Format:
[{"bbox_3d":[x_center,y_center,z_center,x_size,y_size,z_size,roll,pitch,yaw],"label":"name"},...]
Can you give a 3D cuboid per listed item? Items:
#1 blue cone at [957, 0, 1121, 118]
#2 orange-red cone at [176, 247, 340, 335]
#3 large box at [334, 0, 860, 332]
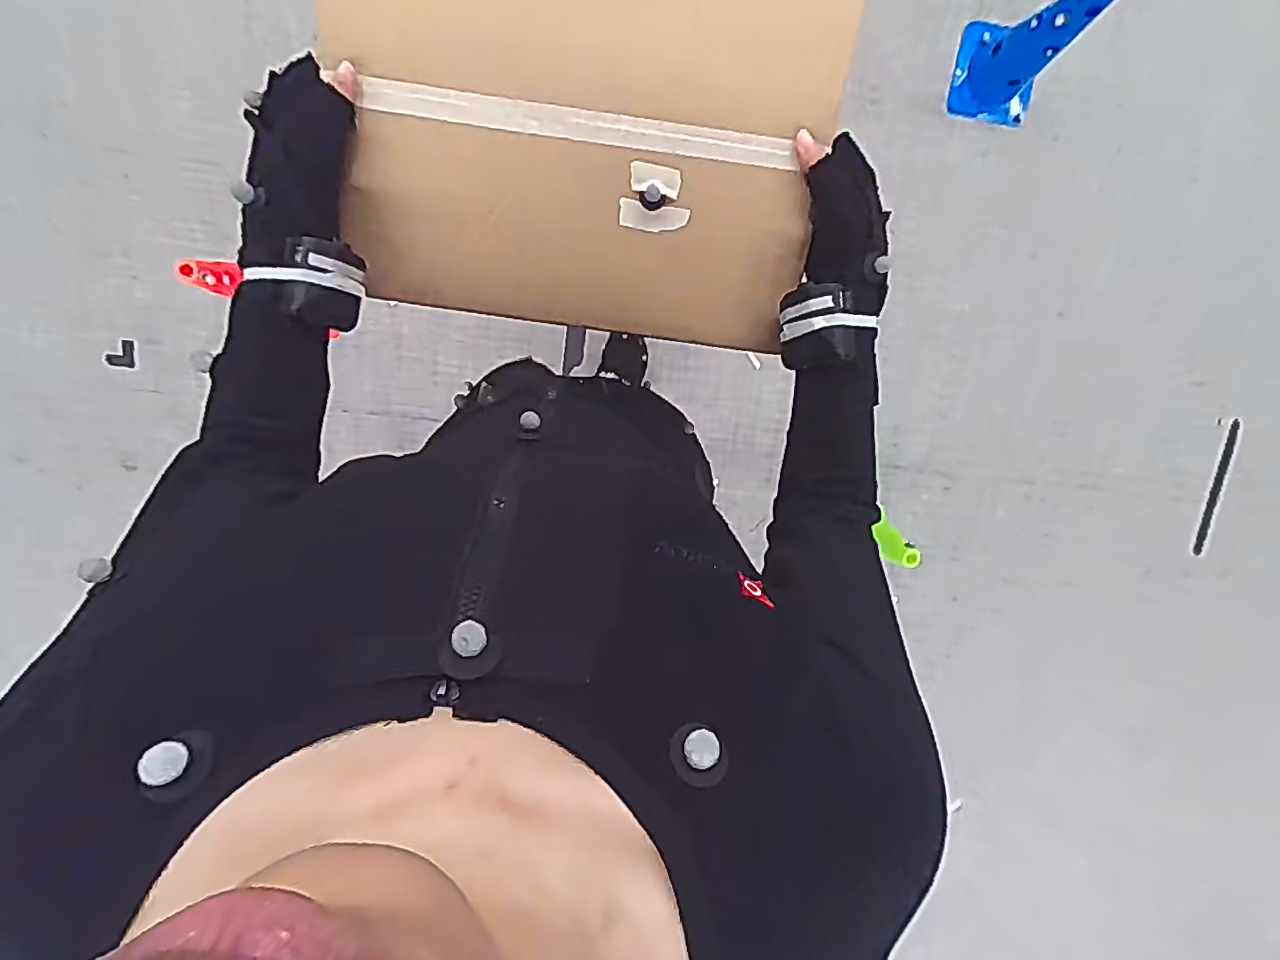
[{"bbox_3d":[0.870,-0.949,1.135,0.192,0.380,0.193,9,102,-5],"label":"blue cone"},{"bbox_3d":[-0.841,-0.427,1.169,0.198,0.360,0.199,4,103,-2],"label":"orange-red cone"},{"bbox_3d":[-0.043,-0.354,0.572,0.408,0.320,0.320,7,113,-3],"label":"large box"}]
